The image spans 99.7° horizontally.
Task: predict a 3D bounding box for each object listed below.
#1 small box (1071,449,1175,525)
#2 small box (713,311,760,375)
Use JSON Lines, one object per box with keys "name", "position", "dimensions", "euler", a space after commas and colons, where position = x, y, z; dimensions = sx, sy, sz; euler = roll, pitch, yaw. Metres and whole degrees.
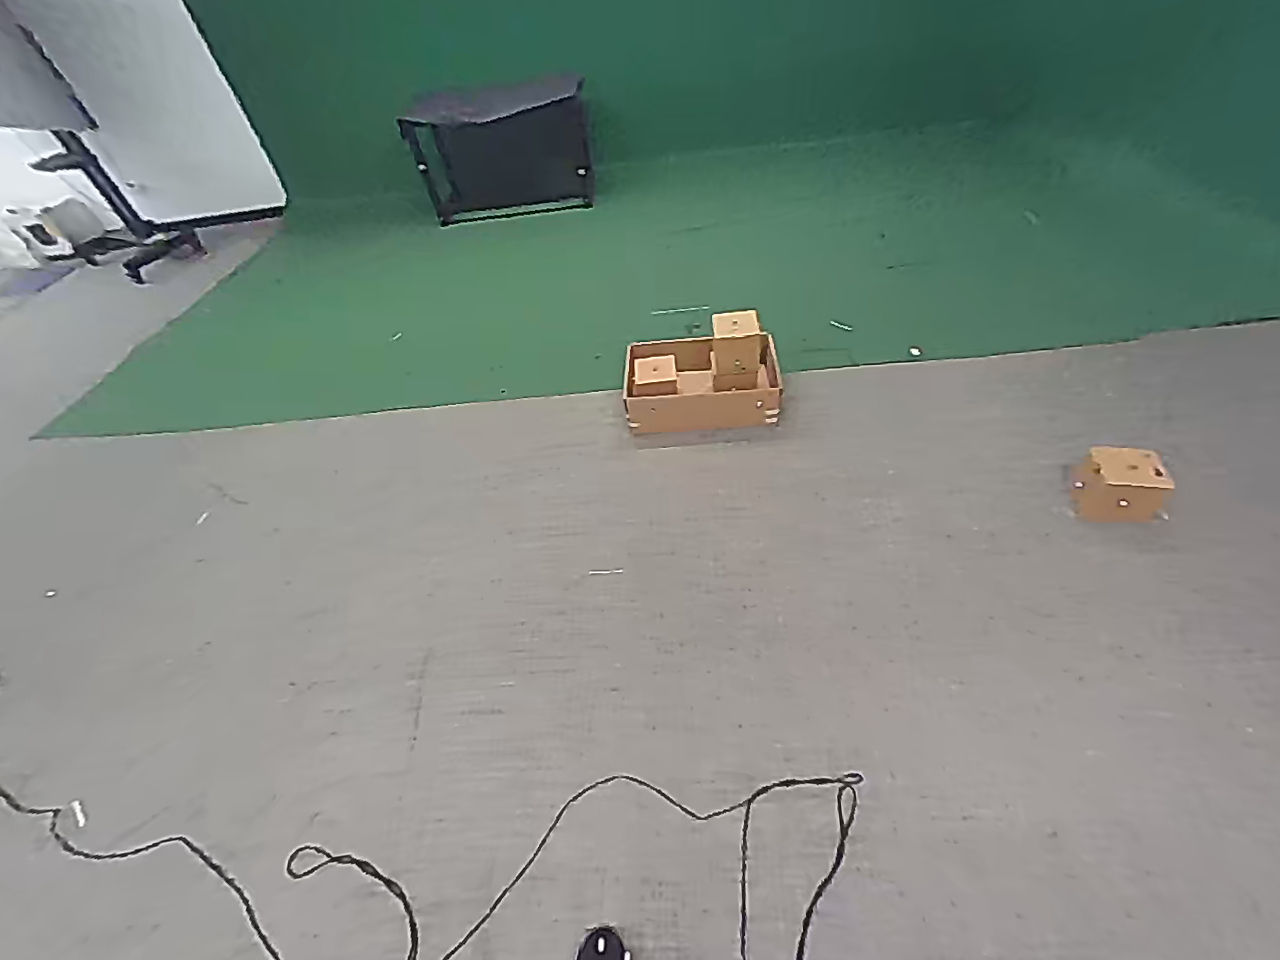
{"name": "small box", "position": [1.475, 0.024, 1.671], "dimensions": [0.179, 0.176, 0.168], "euler": [4, 47, 14]}
{"name": "small box", "position": [0.369, -0.527, 2.080], "dimensions": [0.168, 0.176, 0.179], "euler": [-4, 47, 7]}
